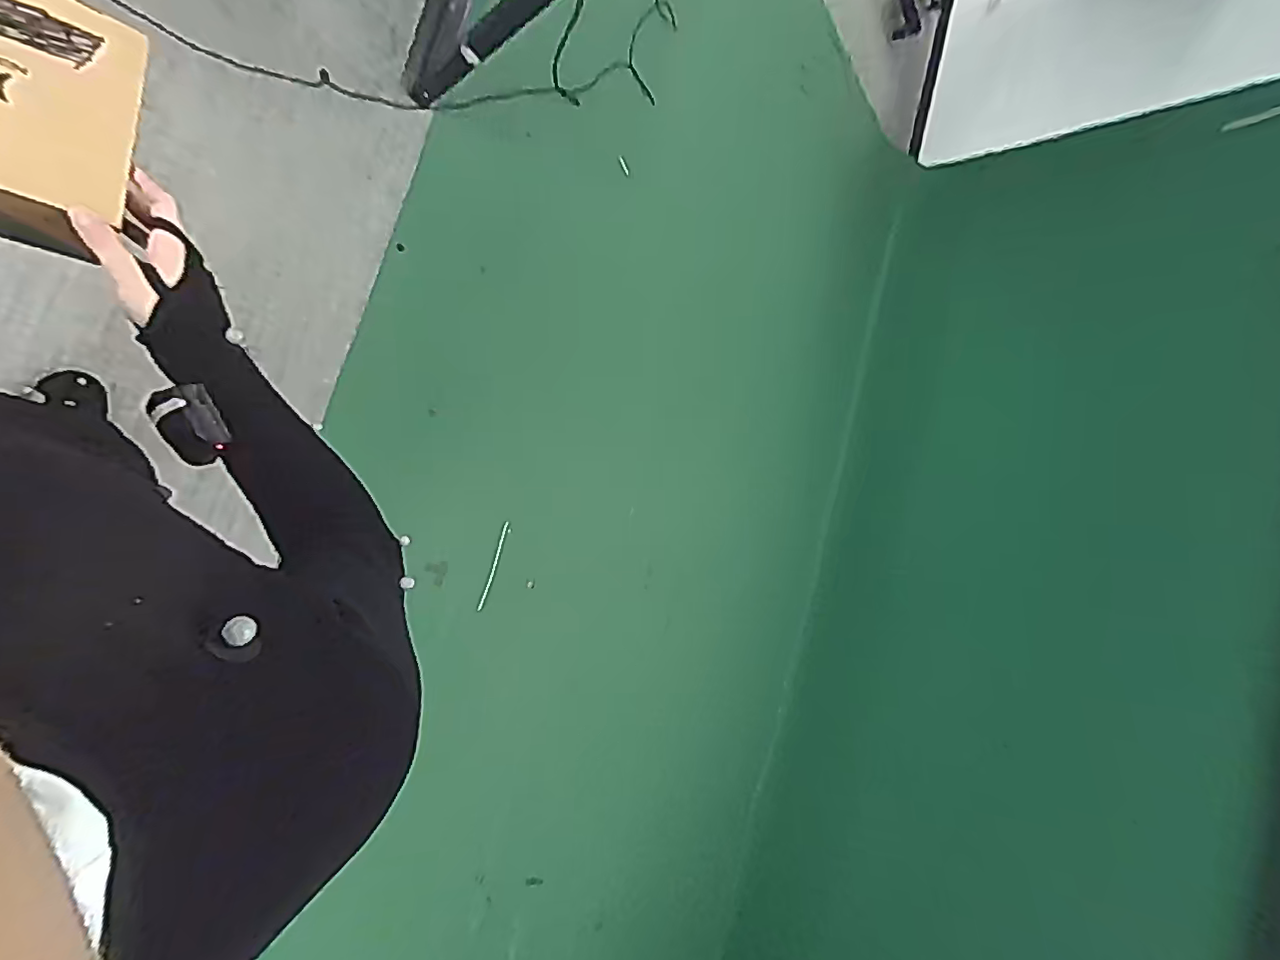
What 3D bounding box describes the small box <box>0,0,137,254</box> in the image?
[{"bbox_3d":[-0.554,-0.318,0.452,0.168,0.176,0.179,9,88,-48],"label":"small box"}]
